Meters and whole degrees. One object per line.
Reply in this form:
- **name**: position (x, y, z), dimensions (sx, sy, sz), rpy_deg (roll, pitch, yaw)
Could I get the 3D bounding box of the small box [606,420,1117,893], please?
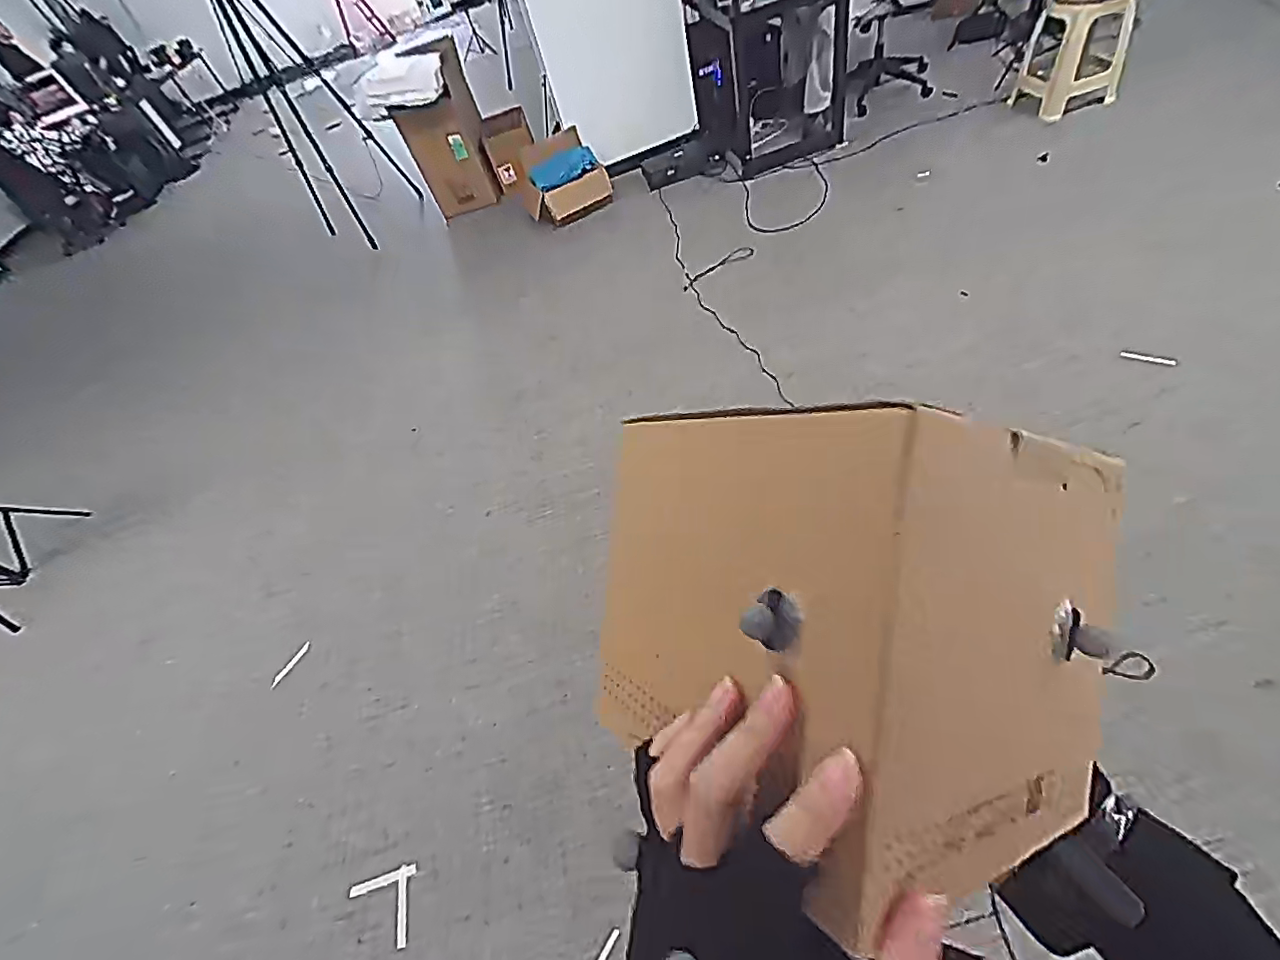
- **small box**: position (0.094, 0.065, 0.276), dimensions (0.179, 0.168, 0.176), rpy_deg (6, 91, 60)
